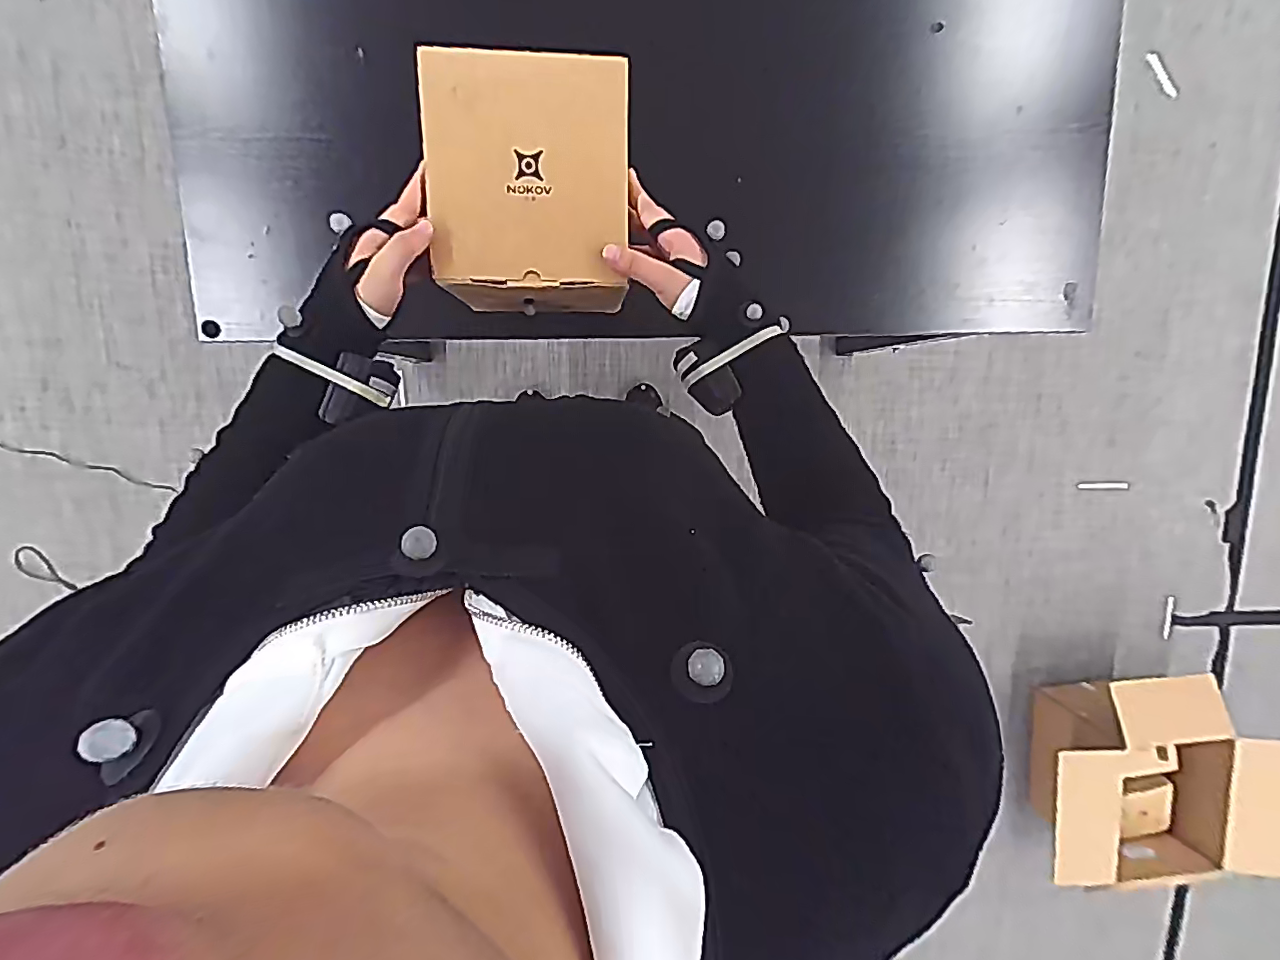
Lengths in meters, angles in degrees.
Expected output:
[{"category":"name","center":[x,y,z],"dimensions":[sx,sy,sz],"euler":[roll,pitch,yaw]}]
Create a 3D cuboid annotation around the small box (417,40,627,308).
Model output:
[{"category":"small box","center":[-0.102,-0.268,0.518],"dimensions":[0.168,0.176,0.179],"euler":[-1,101,-6]}]
